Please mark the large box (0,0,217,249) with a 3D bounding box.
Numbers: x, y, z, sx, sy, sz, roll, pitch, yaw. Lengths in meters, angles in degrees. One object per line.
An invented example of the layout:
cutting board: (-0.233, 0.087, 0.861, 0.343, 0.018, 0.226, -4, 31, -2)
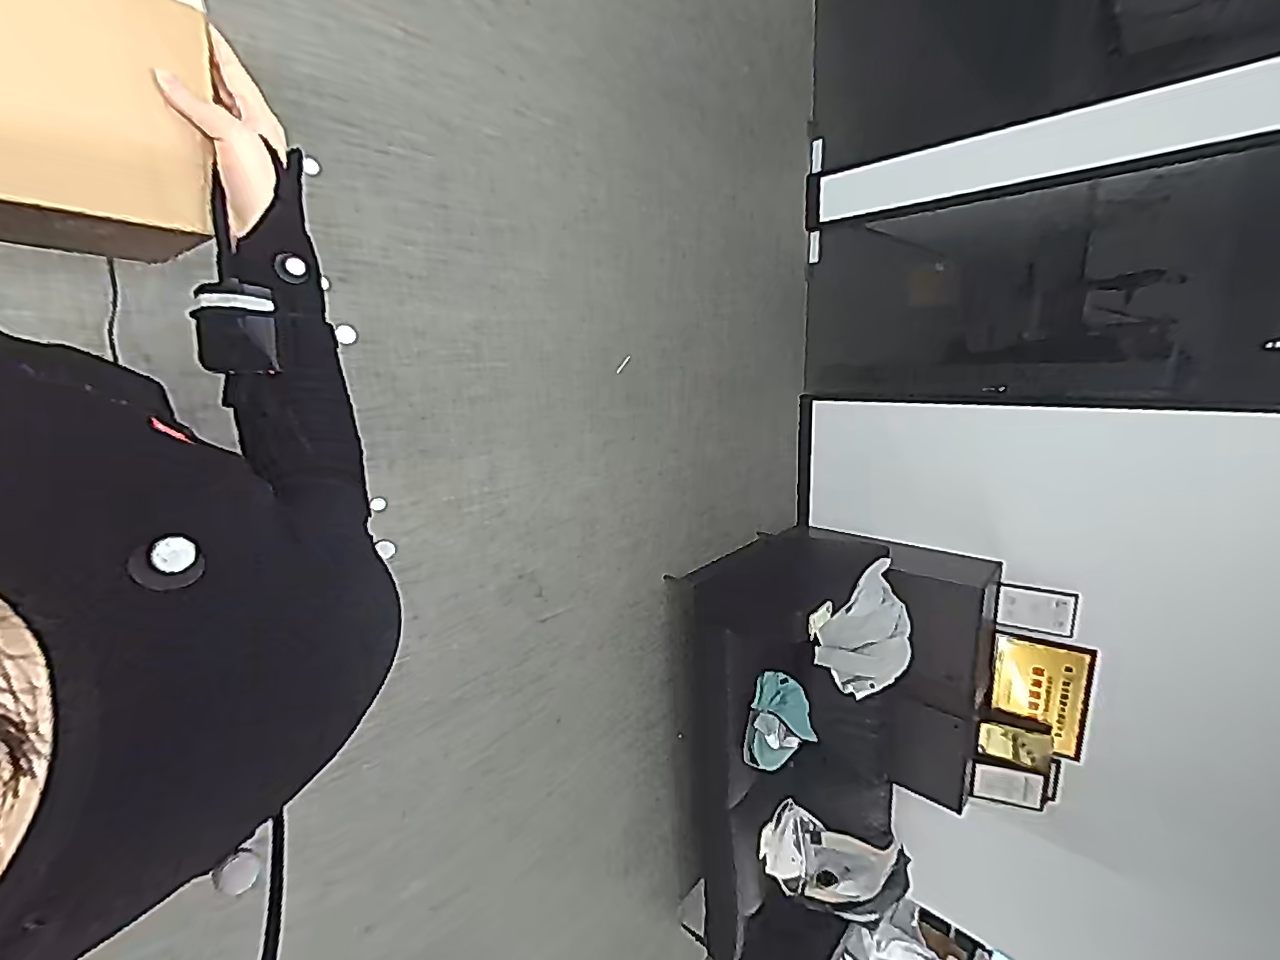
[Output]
large box: (-0.558, -0.350, 0.332, 0.408, 0.320, 0.320, -10, 110, -47)
